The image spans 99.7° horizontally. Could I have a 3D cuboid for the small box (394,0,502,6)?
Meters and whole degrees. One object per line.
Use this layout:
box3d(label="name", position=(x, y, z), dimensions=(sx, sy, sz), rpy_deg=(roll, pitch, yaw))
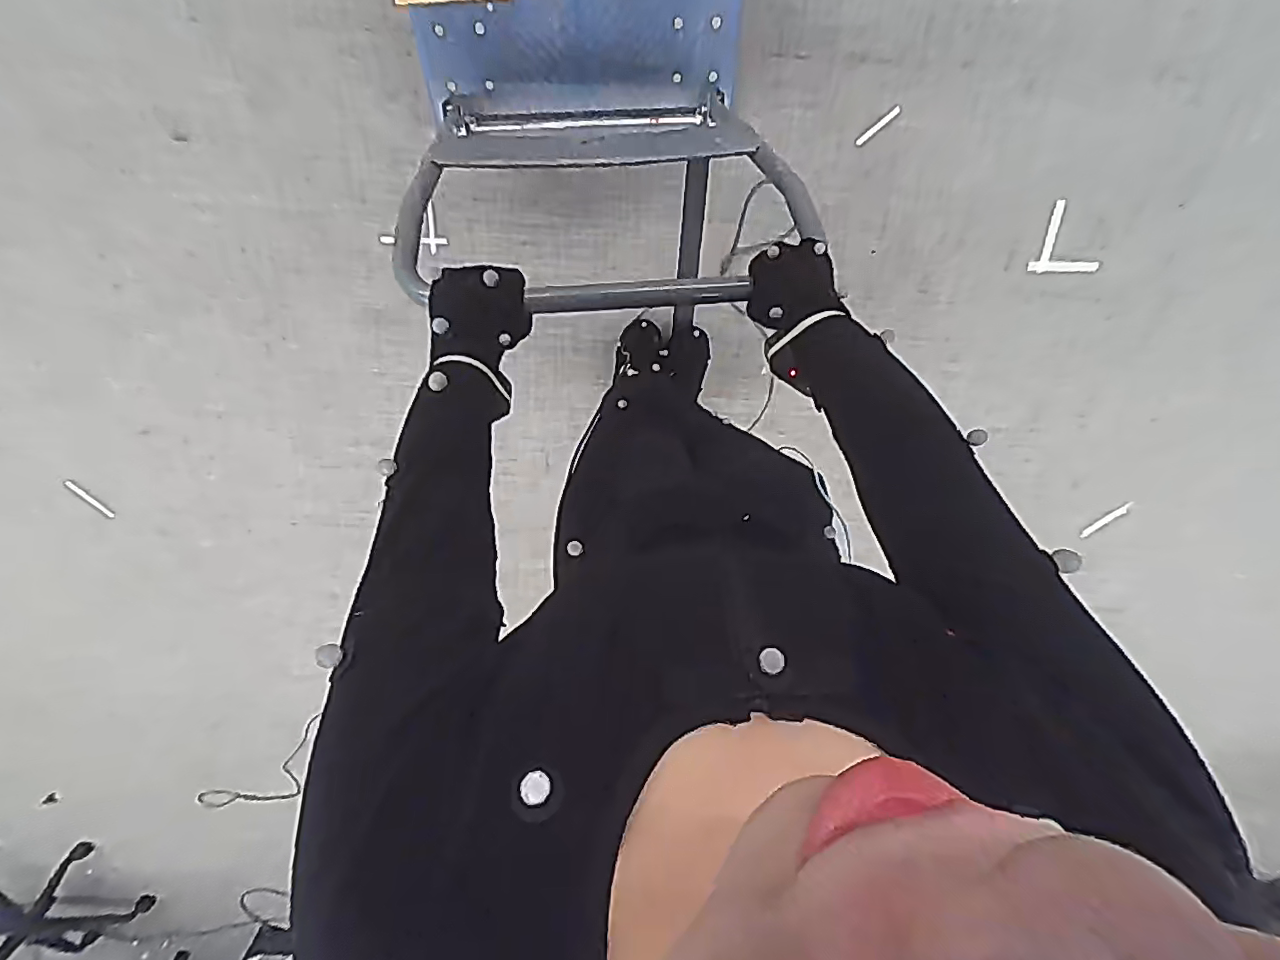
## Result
box3d(label="small box", position=(-0.288, -0.818, 0.802), dimensions=(0.179, 0.176, 0.168), rpy_deg=(-8, 132, -3))
